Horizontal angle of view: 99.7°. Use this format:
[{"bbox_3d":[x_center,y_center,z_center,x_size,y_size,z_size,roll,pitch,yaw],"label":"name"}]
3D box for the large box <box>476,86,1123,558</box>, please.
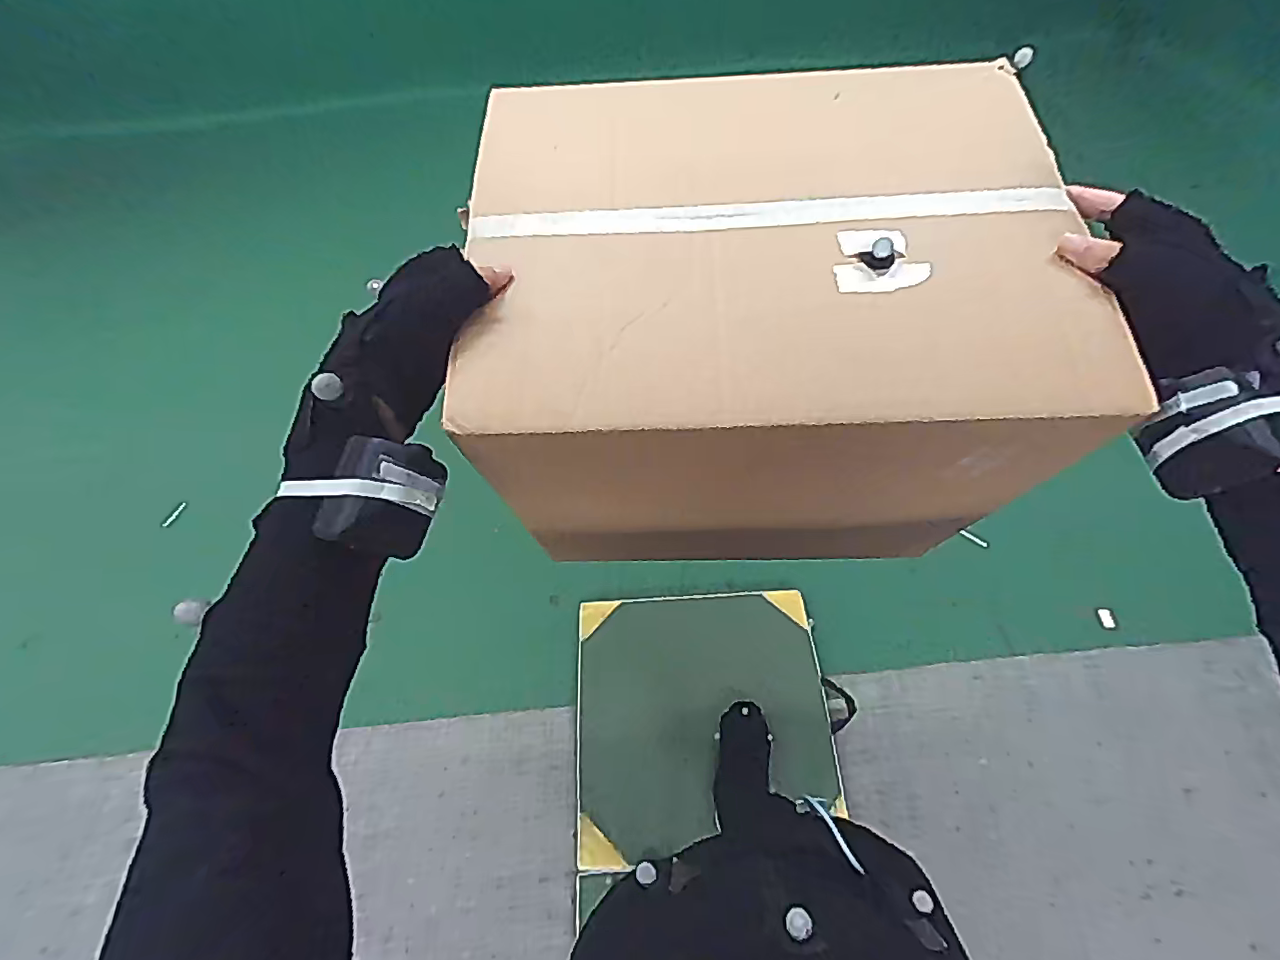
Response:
[{"bbox_3d":[0.094,-0.118,0.522,0.408,0.320,0.320,-1,68,1],"label":"large box"}]
